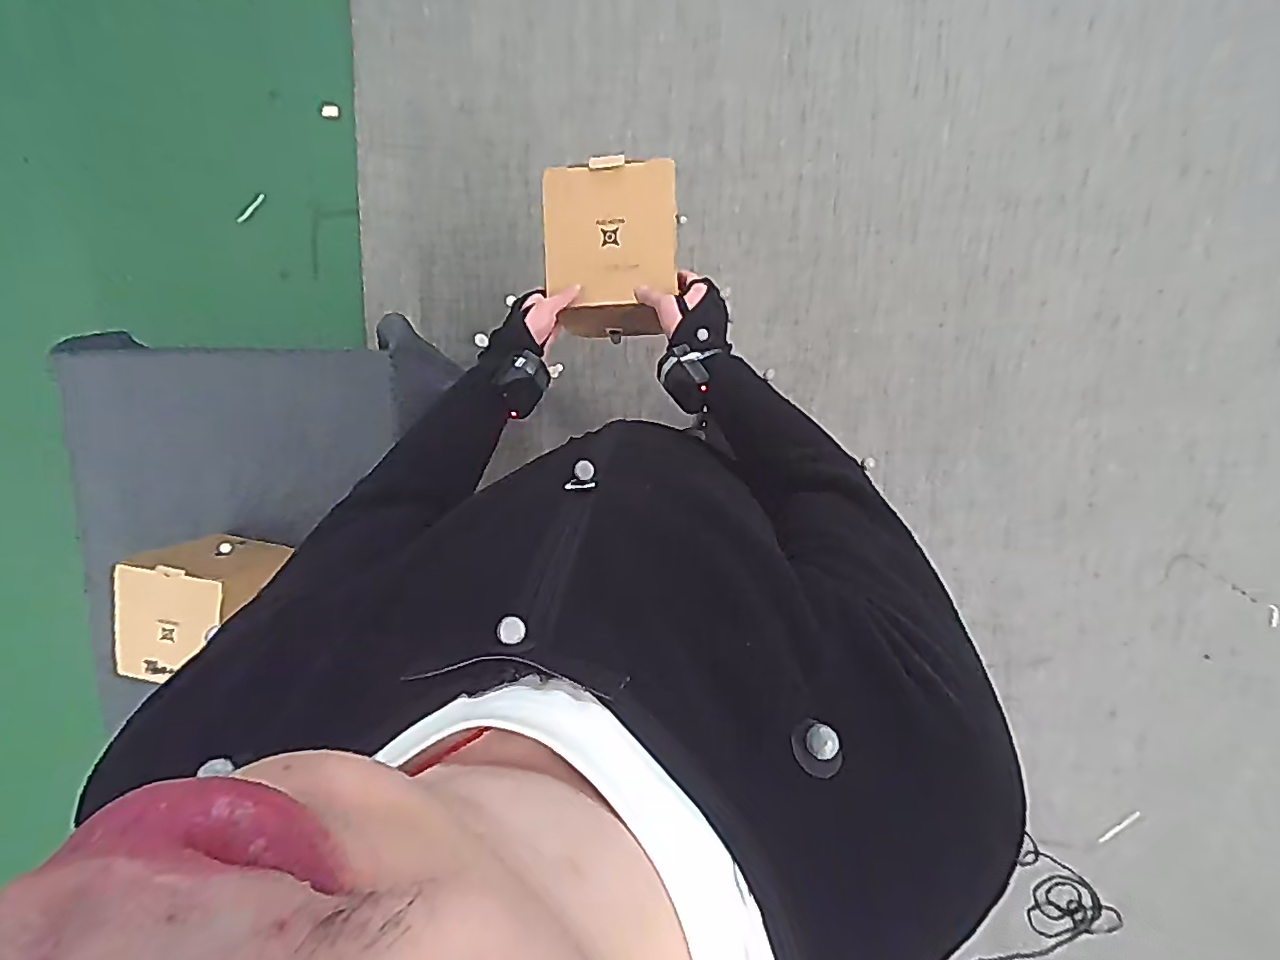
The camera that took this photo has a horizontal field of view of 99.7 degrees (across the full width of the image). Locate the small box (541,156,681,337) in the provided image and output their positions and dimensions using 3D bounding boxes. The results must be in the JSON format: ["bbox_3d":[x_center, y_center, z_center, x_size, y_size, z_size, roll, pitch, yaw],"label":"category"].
[{"bbox_3d":[-0.031,-0.300,0.729,0.168,0.176,0.179,0,92,6],"label":"small box"}]

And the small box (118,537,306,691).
[{"bbox_3d":[-0.663,0.199,0.855,0.168,0.176,0.179,10,98,5],"label":"small box"}]
